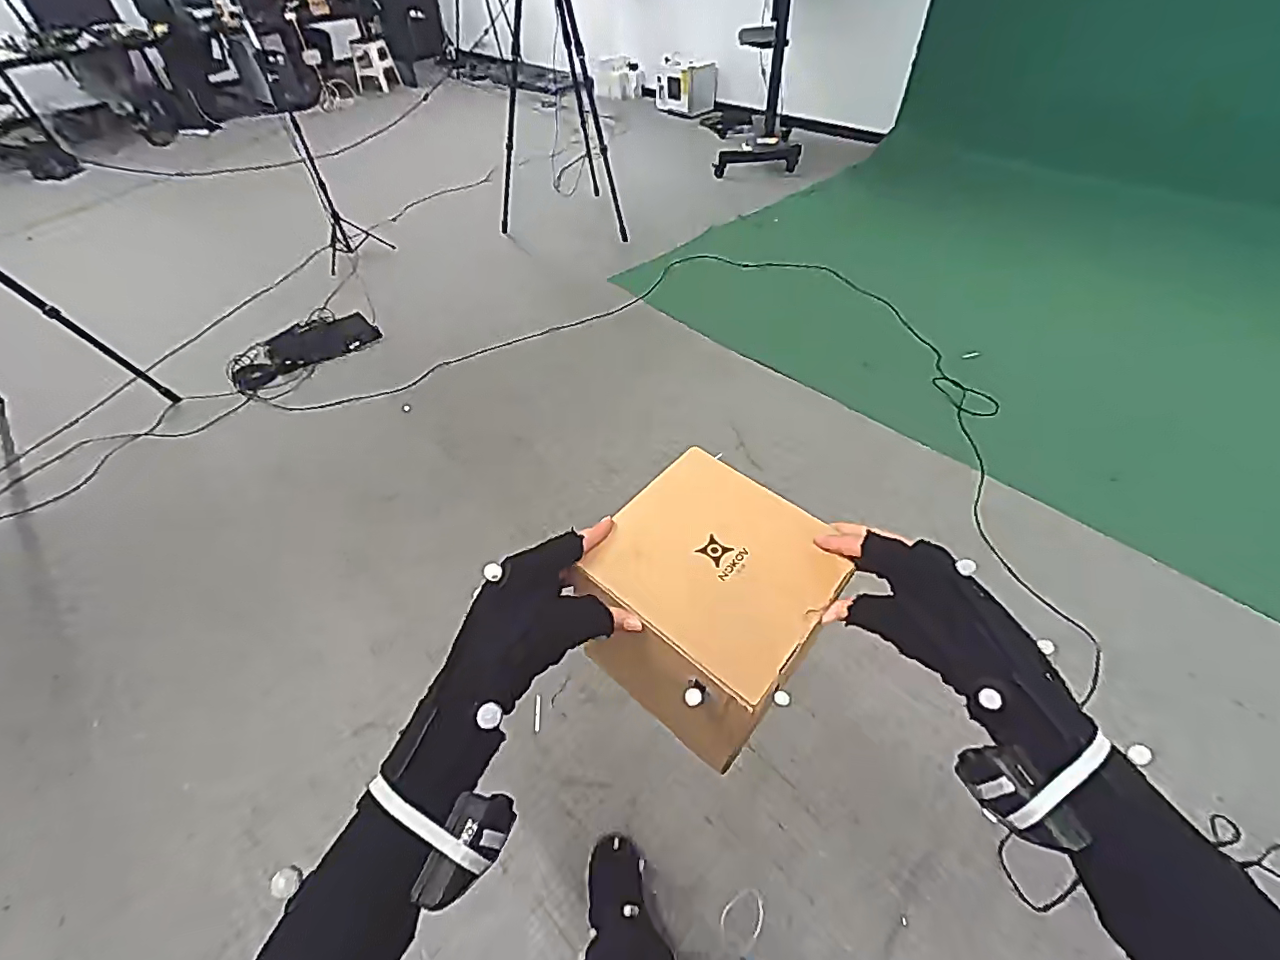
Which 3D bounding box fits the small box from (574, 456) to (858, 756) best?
[{"bbox_3d":[0.061,0.116,0.497,0.179,0.176,0.168,32,56,25],"label":"small box"}]
